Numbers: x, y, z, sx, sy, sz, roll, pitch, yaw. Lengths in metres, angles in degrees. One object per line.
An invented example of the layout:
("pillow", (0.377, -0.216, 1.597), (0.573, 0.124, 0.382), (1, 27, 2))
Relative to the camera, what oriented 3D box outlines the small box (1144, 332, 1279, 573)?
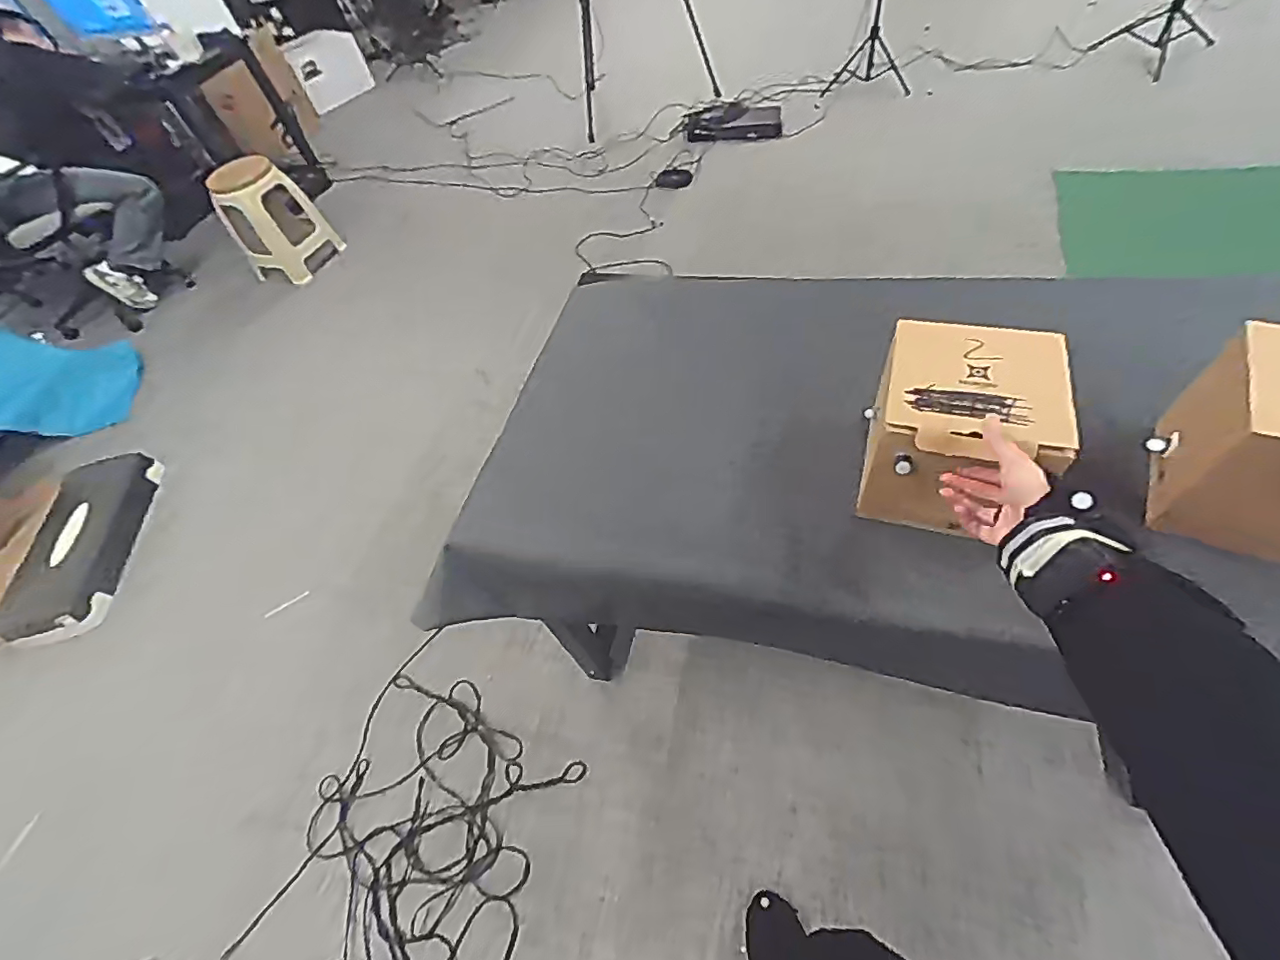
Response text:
("small box", (0.672, -0.017, 0.548), (0.179, 0.176, 0.168), (20, 60, 25))
